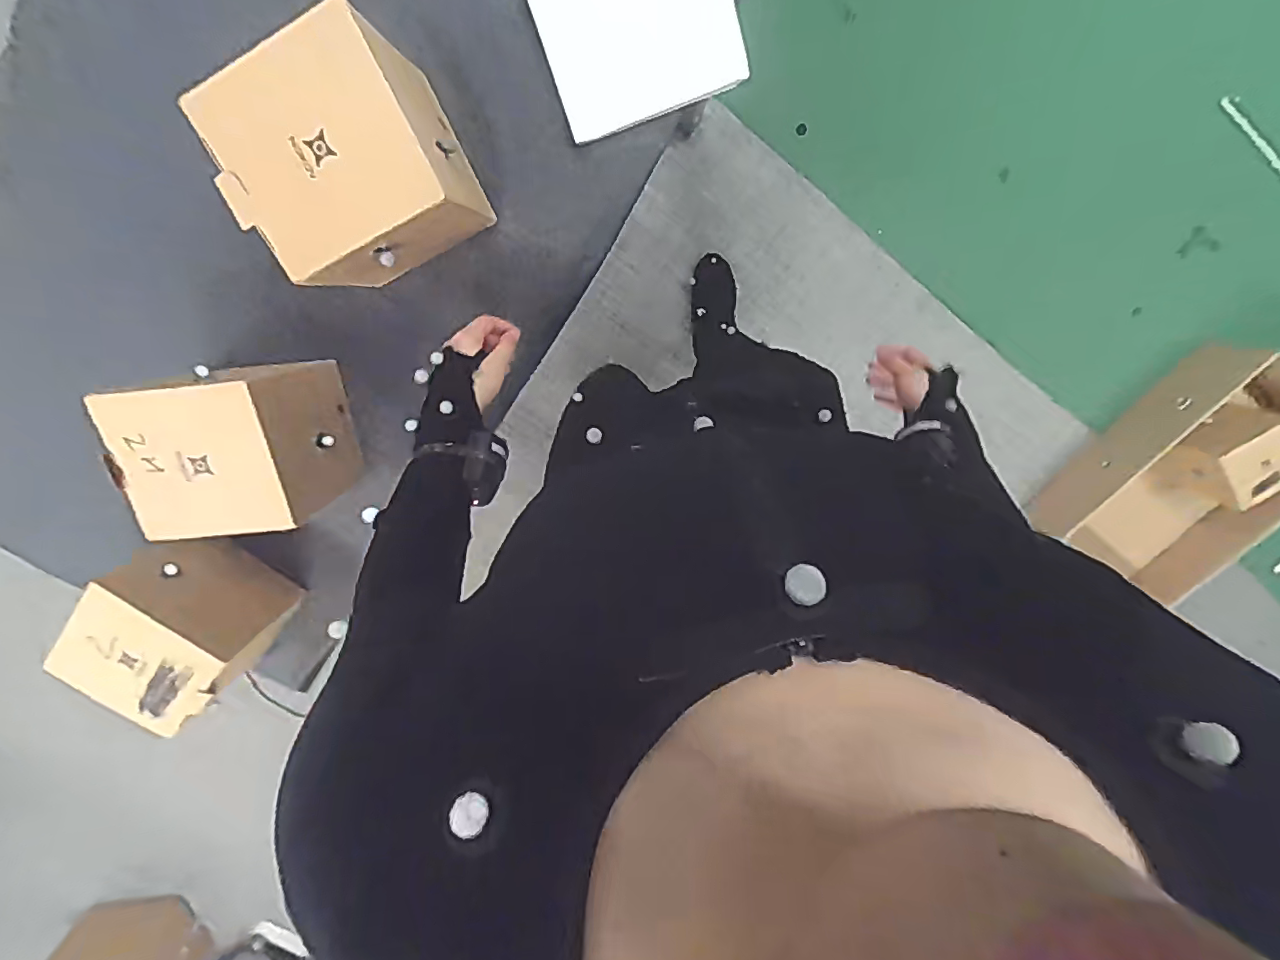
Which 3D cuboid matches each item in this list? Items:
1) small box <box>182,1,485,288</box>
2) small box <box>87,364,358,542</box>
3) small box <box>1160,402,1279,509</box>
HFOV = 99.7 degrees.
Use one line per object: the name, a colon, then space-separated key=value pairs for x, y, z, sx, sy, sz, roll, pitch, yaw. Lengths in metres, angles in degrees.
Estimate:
small box: x=-0.277 y=-0.311 z=0.543 sx=0.179 sy=0.176 sz=0.168 roll=-23 pitch=108 yaw=10
small box: x=-0.466 y=-0.041 z=0.645 sx=0.179 sy=0.176 sz=0.168 roll=-5 pitch=109 yaw=3
small box: x=1.459 y=-0.067 z=1.335 sx=0.168 sy=0.176 sz=0.179 roll=-36 pitch=106 yaw=14
